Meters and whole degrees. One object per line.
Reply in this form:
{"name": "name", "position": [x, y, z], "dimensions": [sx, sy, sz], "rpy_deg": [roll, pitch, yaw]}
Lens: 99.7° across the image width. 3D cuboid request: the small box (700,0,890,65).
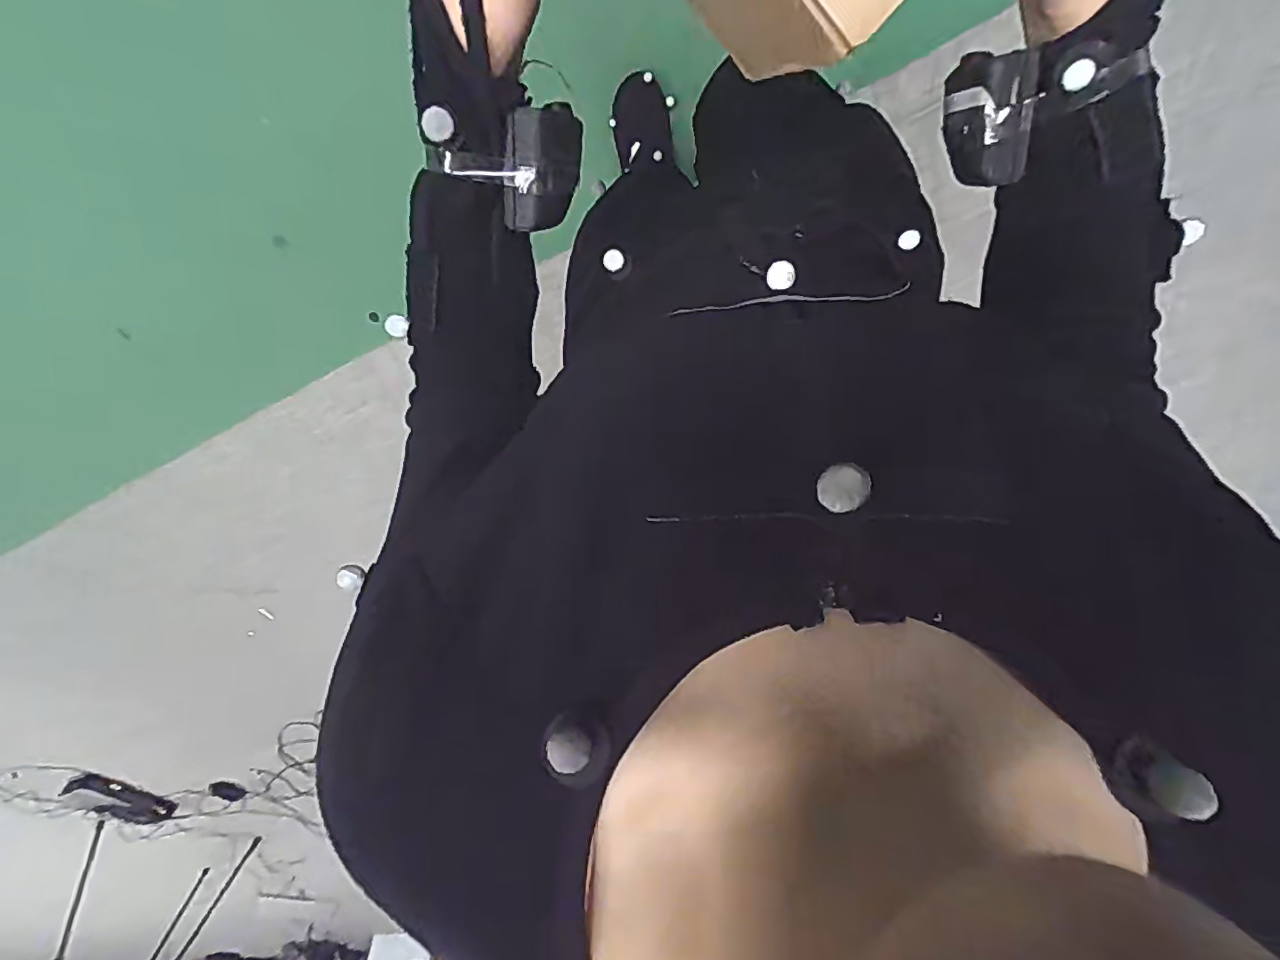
{"name": "small box", "position": [0.069, -0.293, 0.195], "dimensions": [0.168, 0.176, 0.179], "rpy_deg": [36, 117, -23]}
